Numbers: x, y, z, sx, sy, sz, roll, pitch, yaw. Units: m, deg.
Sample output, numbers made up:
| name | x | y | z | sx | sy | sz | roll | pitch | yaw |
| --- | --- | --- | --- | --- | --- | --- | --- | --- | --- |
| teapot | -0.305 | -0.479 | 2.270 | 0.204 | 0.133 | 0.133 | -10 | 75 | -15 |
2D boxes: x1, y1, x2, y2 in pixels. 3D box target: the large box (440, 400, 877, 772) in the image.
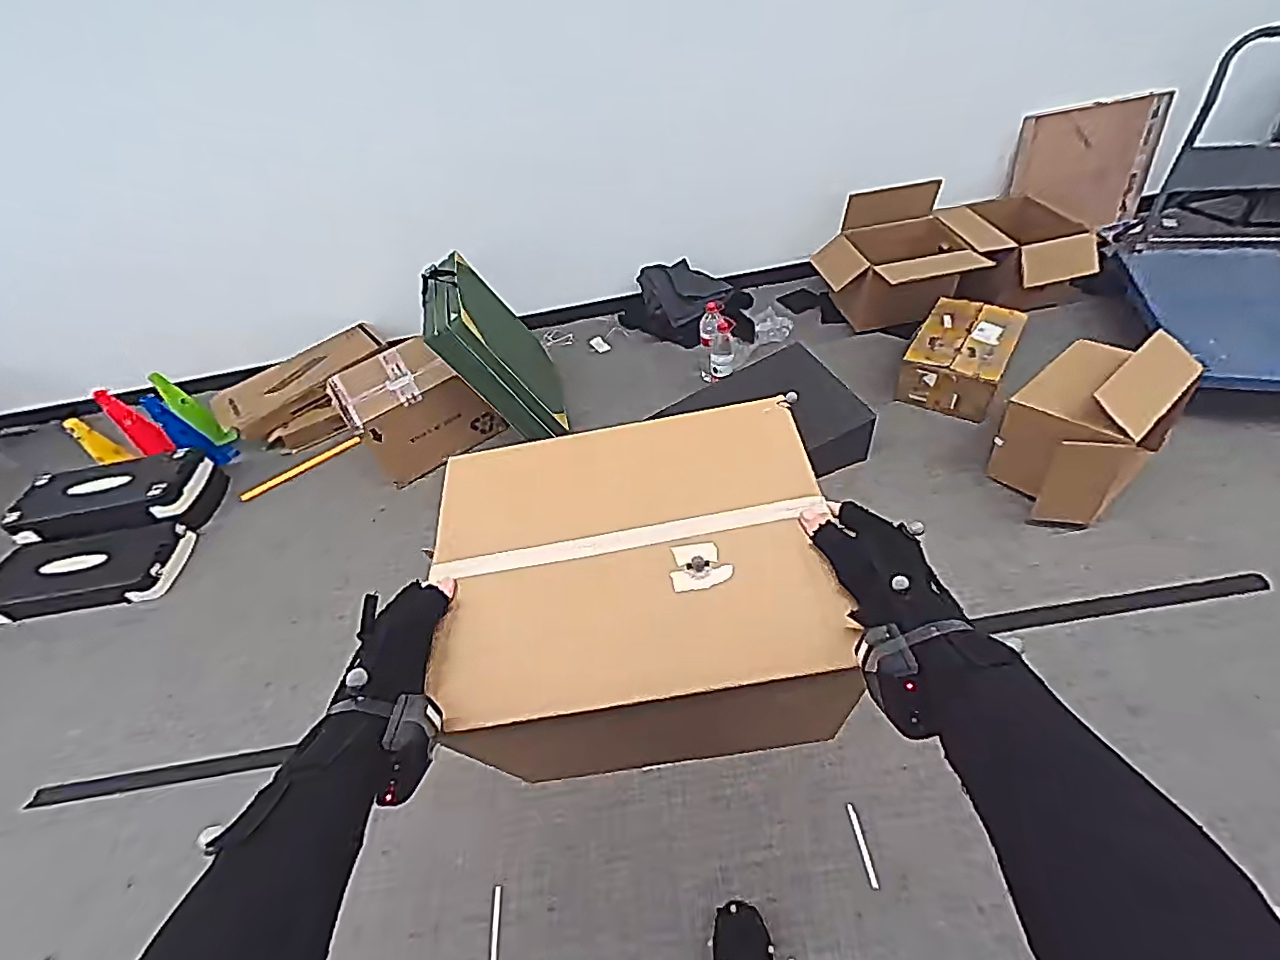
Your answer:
| name | x | y | z | sx | sy | sz | roll | pitch | yaw |
| --- | --- | --- | --- | --- | --- | --- | --- | --- | --- |
| large box | 0.014 | 0.146 | 0.683 | 0.408 | 0.320 | 0.320 | -10 | 54 | 2 |
